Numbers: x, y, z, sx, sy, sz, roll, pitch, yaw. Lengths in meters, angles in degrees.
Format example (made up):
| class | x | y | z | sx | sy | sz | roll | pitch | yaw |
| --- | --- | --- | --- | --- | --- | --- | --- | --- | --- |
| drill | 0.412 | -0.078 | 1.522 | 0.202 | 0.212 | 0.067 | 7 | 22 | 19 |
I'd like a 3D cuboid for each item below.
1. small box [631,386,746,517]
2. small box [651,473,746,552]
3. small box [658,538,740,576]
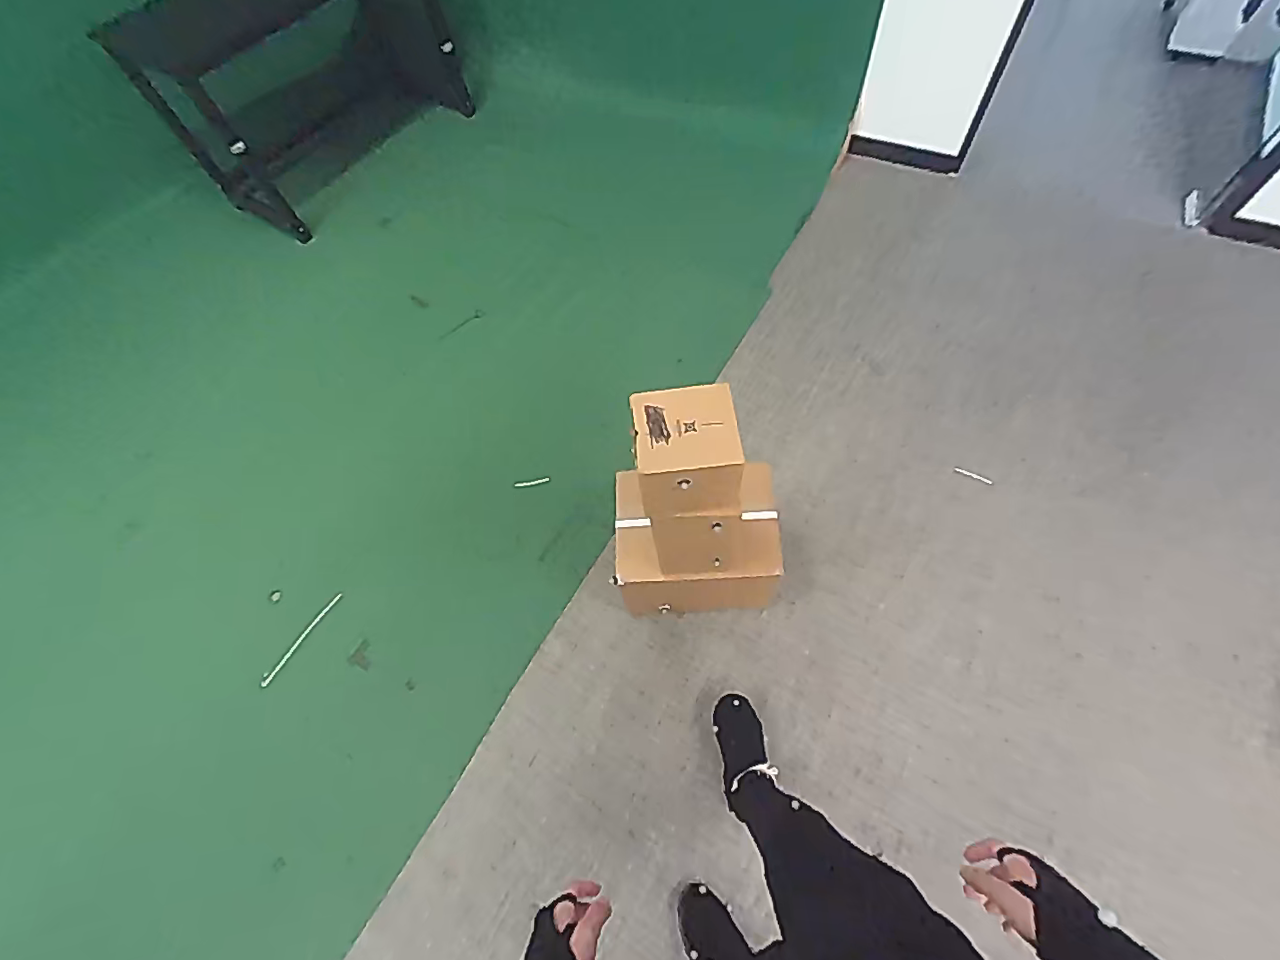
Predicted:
| class | x | y | z | sx | sy | sz | roll | pitch | yaw |
| --- | --- | --- | --- | --- | --- | --- | --- | --- | --- |
| small box | 0.084 | -0.044 | 0.964 | 0.179 | 0.176 | 0.168 | -6 | 61 | 2 |
| small box | 0.115 | 0.040 | 1.102 | 0.179 | 0.176 | 0.168 | -1 | 61 | 5 |
| small box | 0.131 | 0.117 | 1.247 | 0.179 | 0.176 | 0.168 | -4 | 62 | 5 |
